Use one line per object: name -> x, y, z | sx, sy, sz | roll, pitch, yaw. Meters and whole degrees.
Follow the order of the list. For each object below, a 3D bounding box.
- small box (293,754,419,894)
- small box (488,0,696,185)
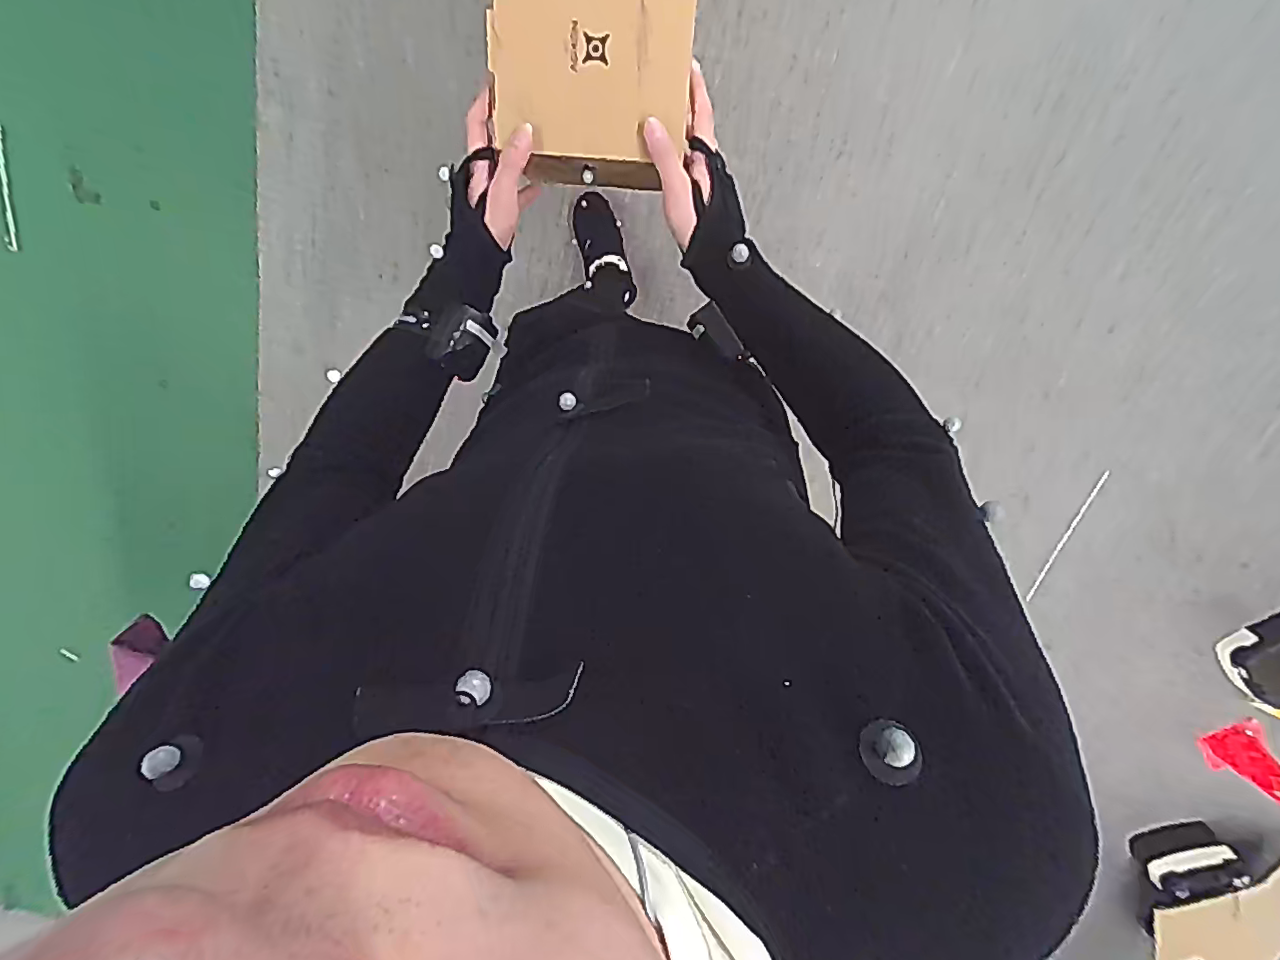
small box -> -0.569, 0.702, 1.111 | 0.168, 0.176, 0.179 | 6, 114, -1
small box -> -0.041, -0.401, 0.534 | 0.179, 0.176, 0.168 | 4, 110, -1
